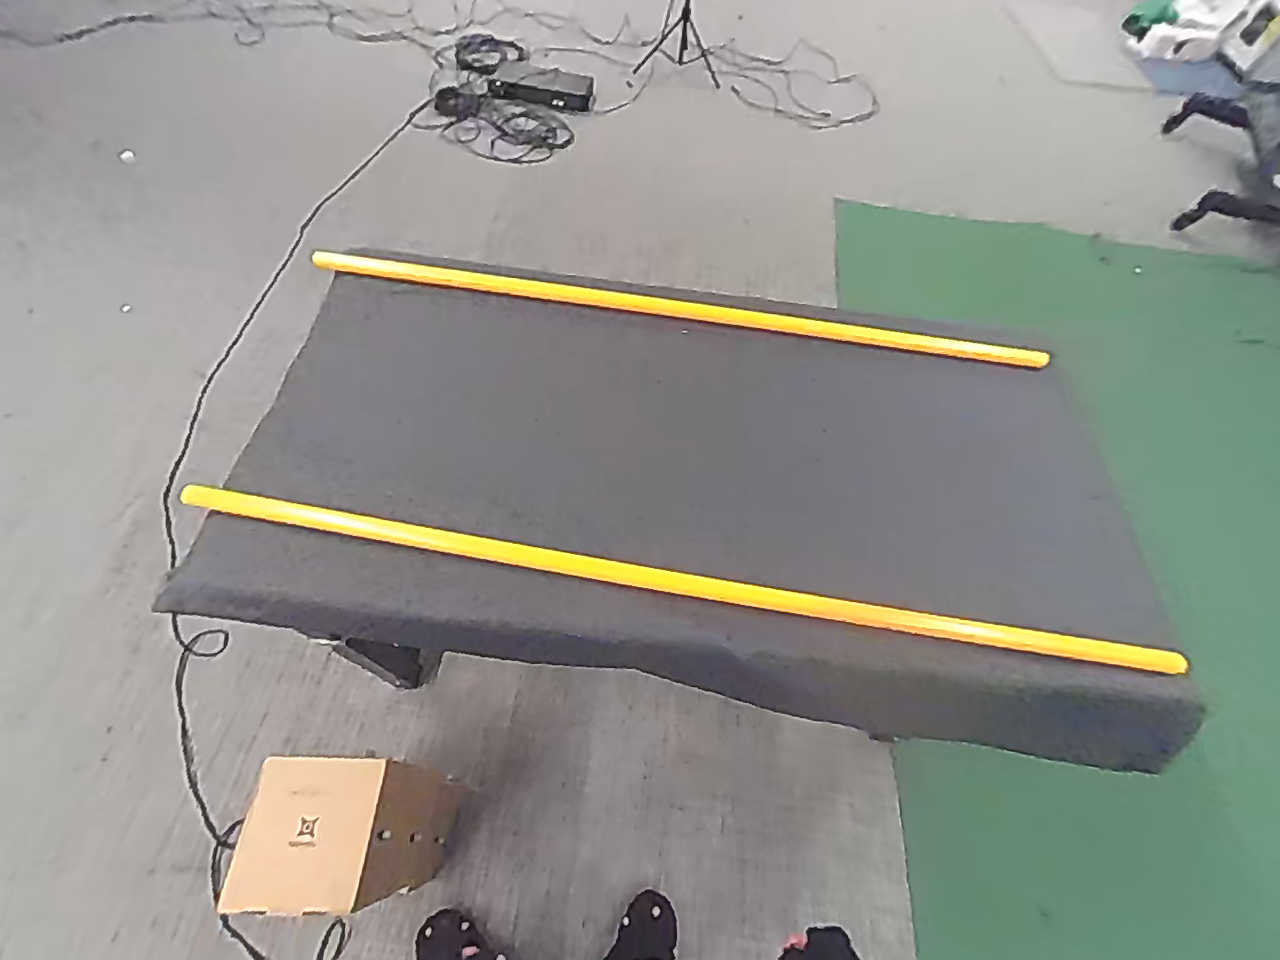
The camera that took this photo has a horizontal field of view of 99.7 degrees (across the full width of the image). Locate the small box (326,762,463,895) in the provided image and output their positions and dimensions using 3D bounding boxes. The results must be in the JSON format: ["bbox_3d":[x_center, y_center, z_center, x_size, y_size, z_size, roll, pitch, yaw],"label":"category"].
[{"bbox_3d":[-0.463,0.672,1.057,0.168,0.176,0.179,14,60,4],"label":"small box"}]
